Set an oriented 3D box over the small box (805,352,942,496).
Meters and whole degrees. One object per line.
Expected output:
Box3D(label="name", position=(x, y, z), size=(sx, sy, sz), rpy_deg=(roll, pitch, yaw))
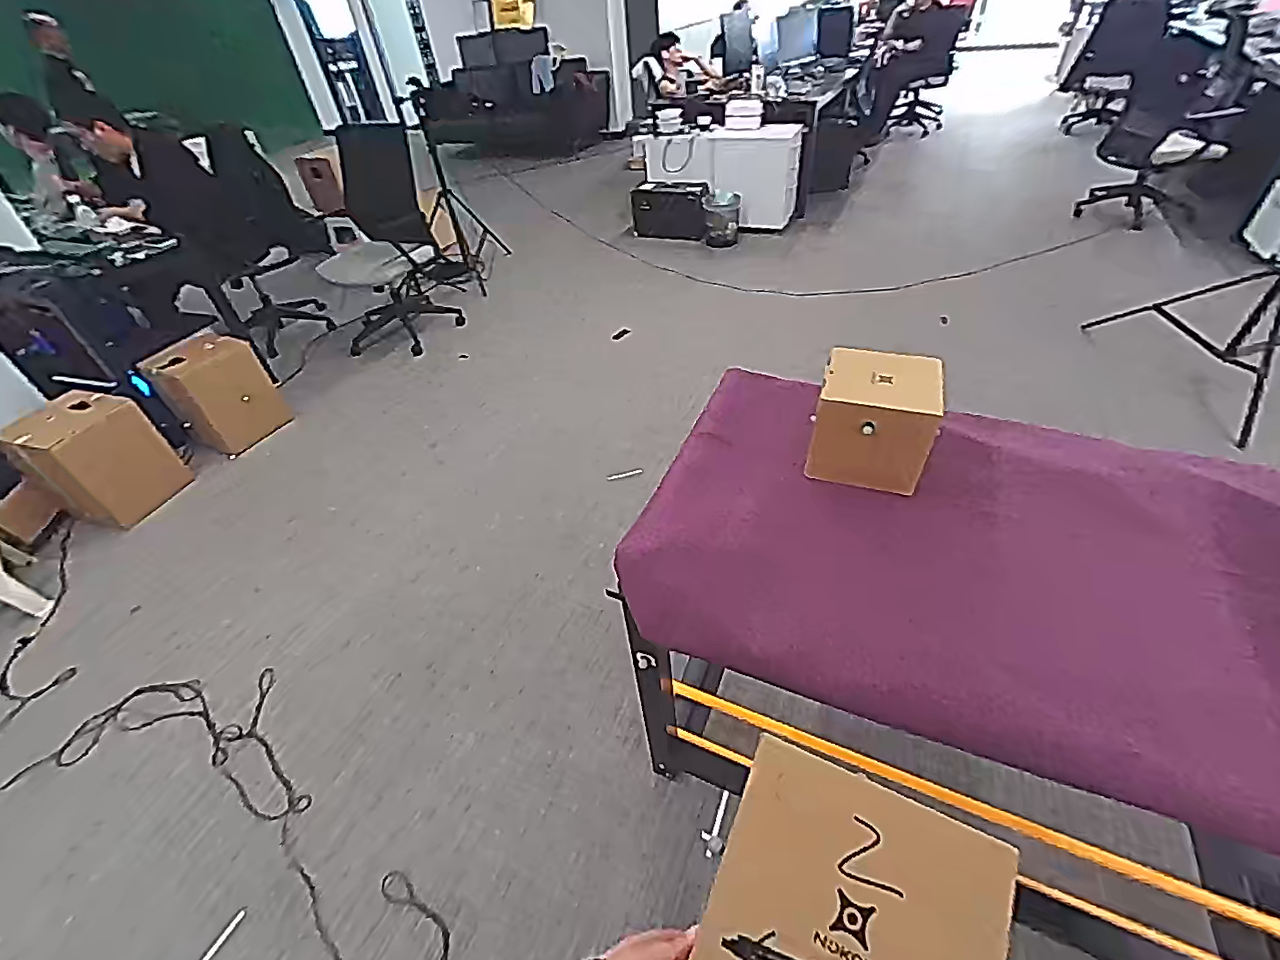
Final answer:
Box3D(label="small box", position=(0.392, -0.093, 0.919), size=(0.179, 0.176, 0.168), rpy_deg=(12, 45, 18))
